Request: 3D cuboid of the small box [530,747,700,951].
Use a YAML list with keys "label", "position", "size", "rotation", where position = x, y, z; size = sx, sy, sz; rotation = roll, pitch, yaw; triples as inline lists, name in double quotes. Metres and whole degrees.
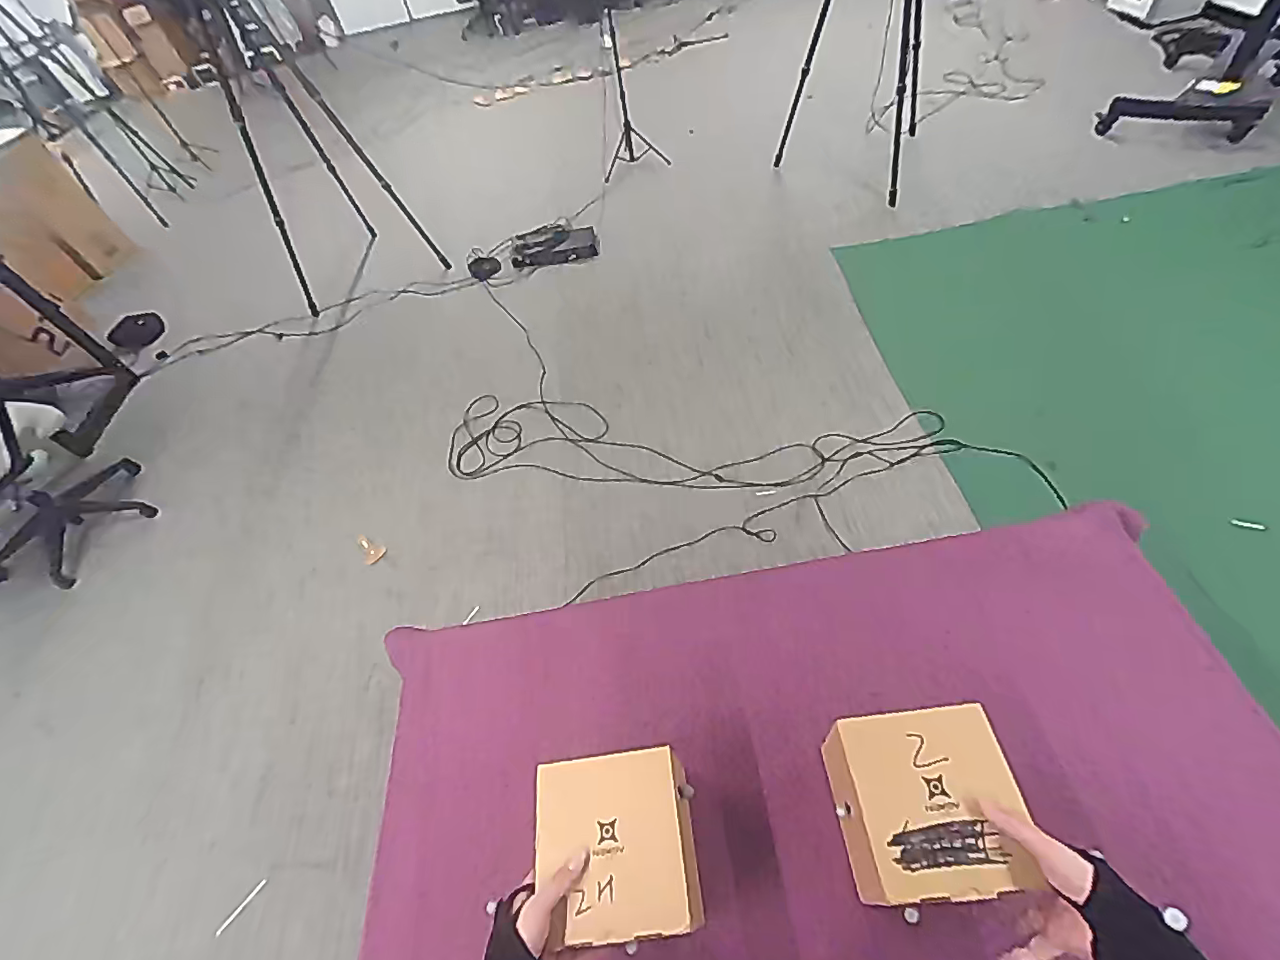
- label: "small box"
  position: [-0.025, 0.442, 0.653]
  size: [0.168, 0.176, 0.179]
  rotation: [-10, 52, 5]
